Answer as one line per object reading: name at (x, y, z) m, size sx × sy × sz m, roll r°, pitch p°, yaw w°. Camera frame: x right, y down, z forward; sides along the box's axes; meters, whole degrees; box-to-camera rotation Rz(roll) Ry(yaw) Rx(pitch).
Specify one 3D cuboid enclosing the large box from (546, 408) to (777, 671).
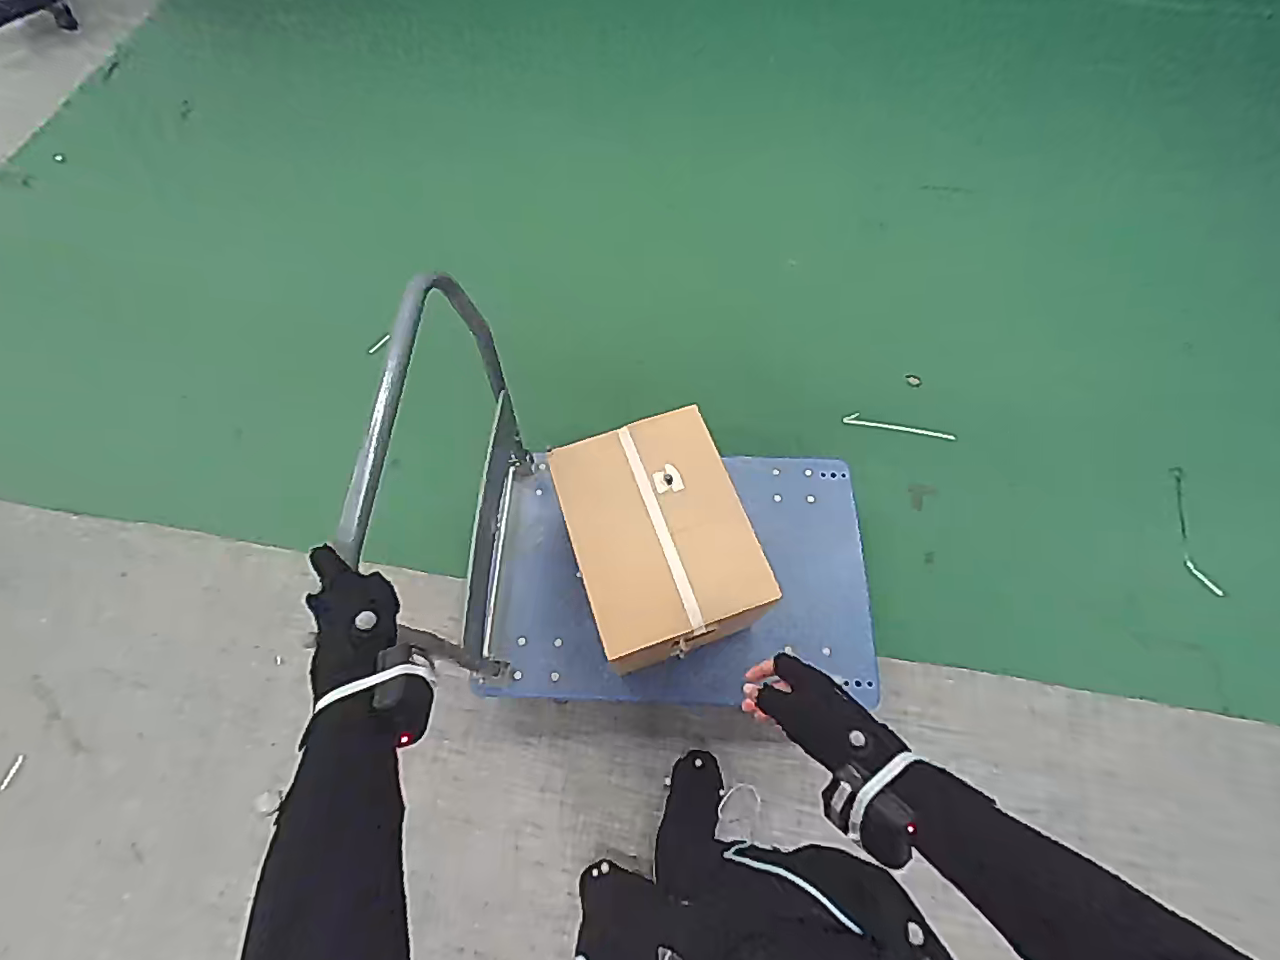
large box at (0.034, 0.134, 1.109) m, size 0.320 × 0.320 × 0.408 m, roll -18°, pitch 66°, yaw -6°
